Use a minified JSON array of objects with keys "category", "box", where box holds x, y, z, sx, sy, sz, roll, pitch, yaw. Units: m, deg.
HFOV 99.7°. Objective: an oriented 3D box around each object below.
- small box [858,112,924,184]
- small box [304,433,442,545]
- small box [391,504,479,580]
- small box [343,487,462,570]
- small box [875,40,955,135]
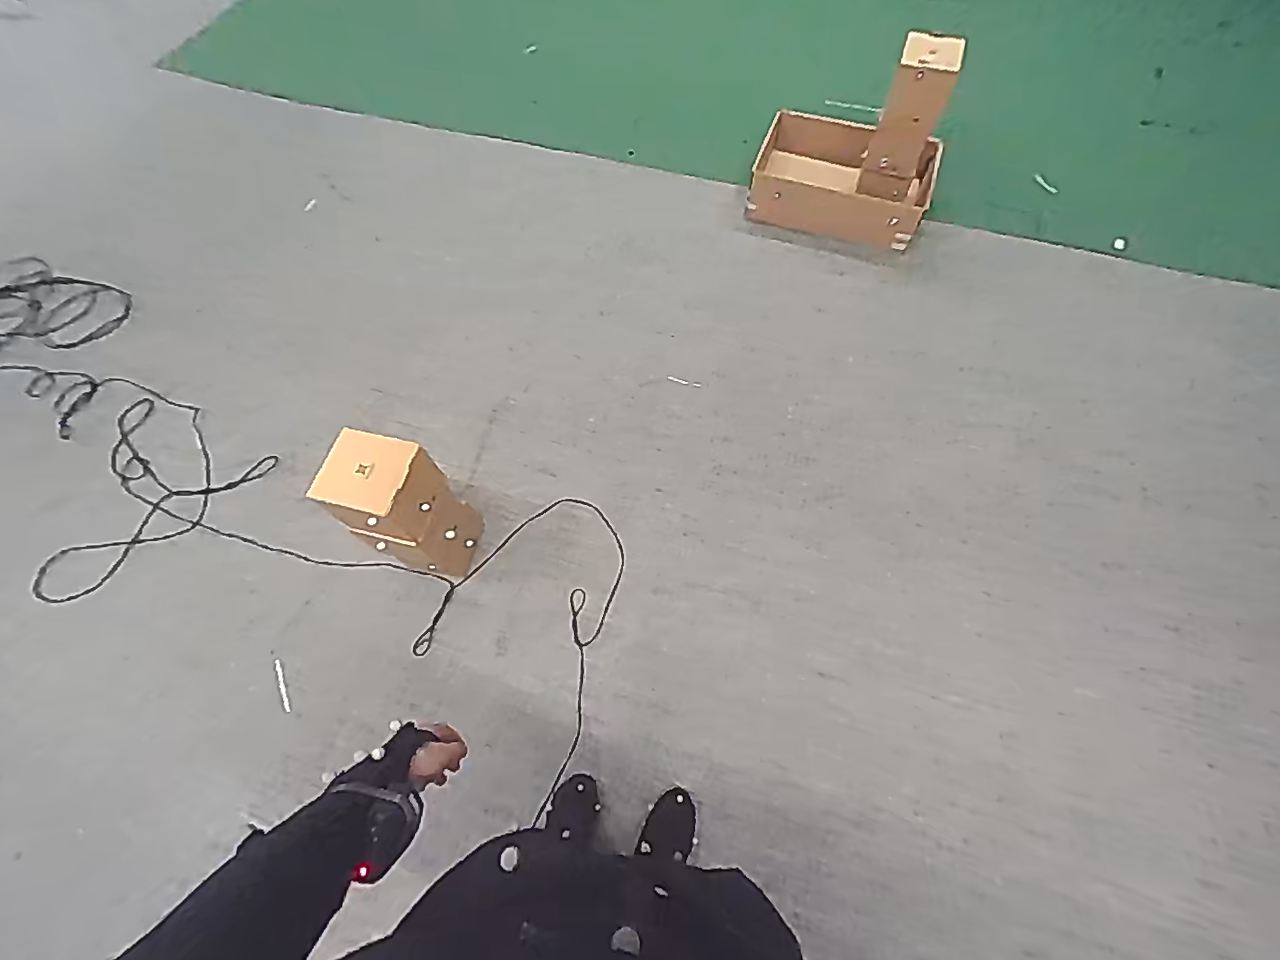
[{"category":"small box","box":[0.856,-1.145,1.827,0.168,0.176,0.179,19,68,12]},{"category":"small box","box":[-0.557,0.025,1.154,0.179,0.176,0.168,12,64,6]},{"category":"small box","box":[-0.553,0.160,1.452,0.179,0.176,0.168,9,63,7]},{"category":"small box","box":[-0.559,0.102,1.298,0.179,0.176,0.168,13,65,7]},{"category":"small box","box":[0.850,-1.216,1.679,0.168,0.176,0.179,16,65,11]}]
